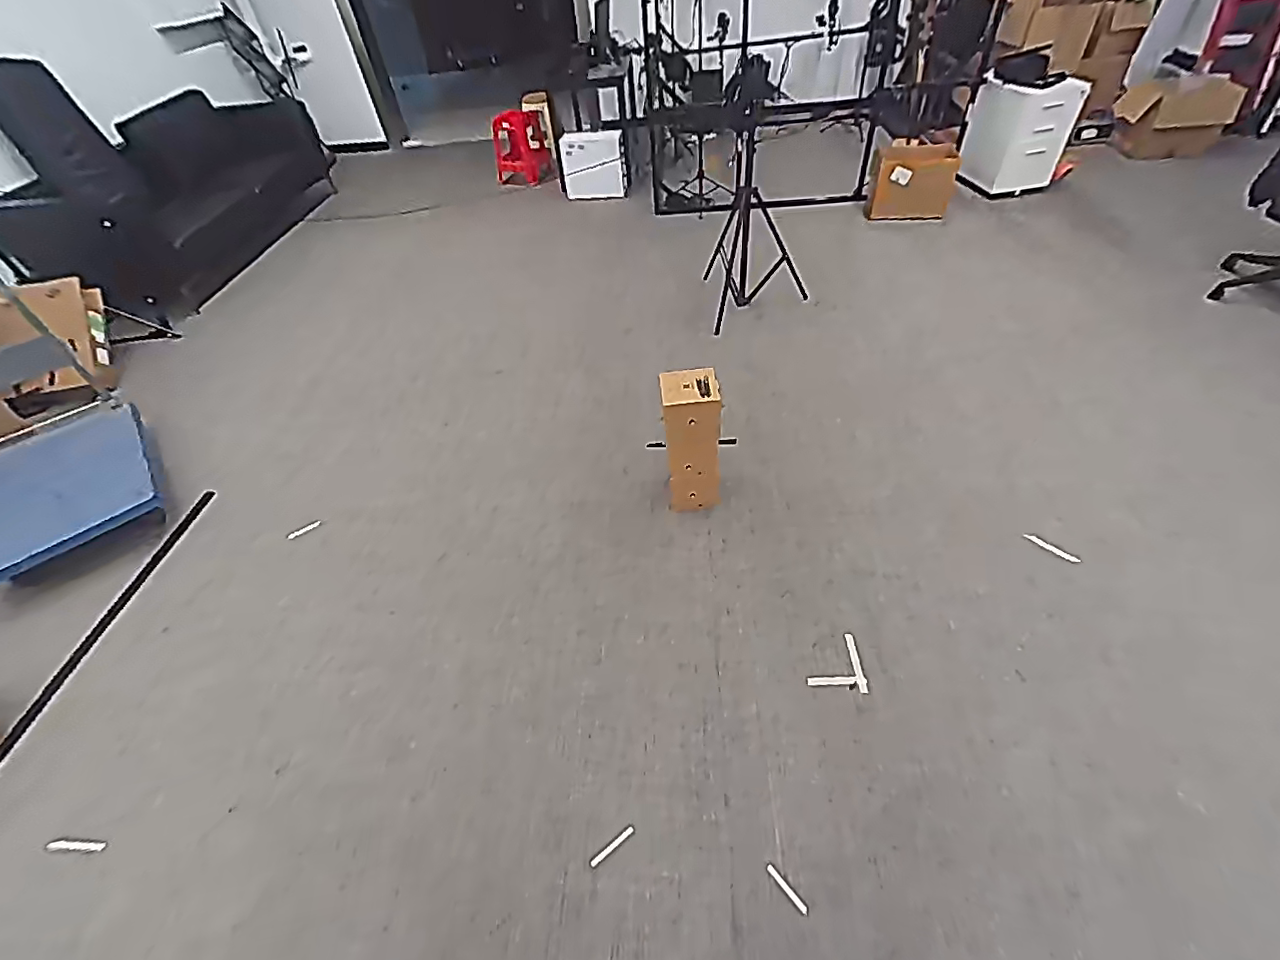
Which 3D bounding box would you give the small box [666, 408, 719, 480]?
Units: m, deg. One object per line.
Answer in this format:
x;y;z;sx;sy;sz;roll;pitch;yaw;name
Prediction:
0.175;-0.121;1.836;0.168;0.176;0.179;-4;47;4;small box

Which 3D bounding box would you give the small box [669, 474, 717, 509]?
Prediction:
0.190;-0.008;1.952;0.168;0.176;0.179;-4;45;2;small box
